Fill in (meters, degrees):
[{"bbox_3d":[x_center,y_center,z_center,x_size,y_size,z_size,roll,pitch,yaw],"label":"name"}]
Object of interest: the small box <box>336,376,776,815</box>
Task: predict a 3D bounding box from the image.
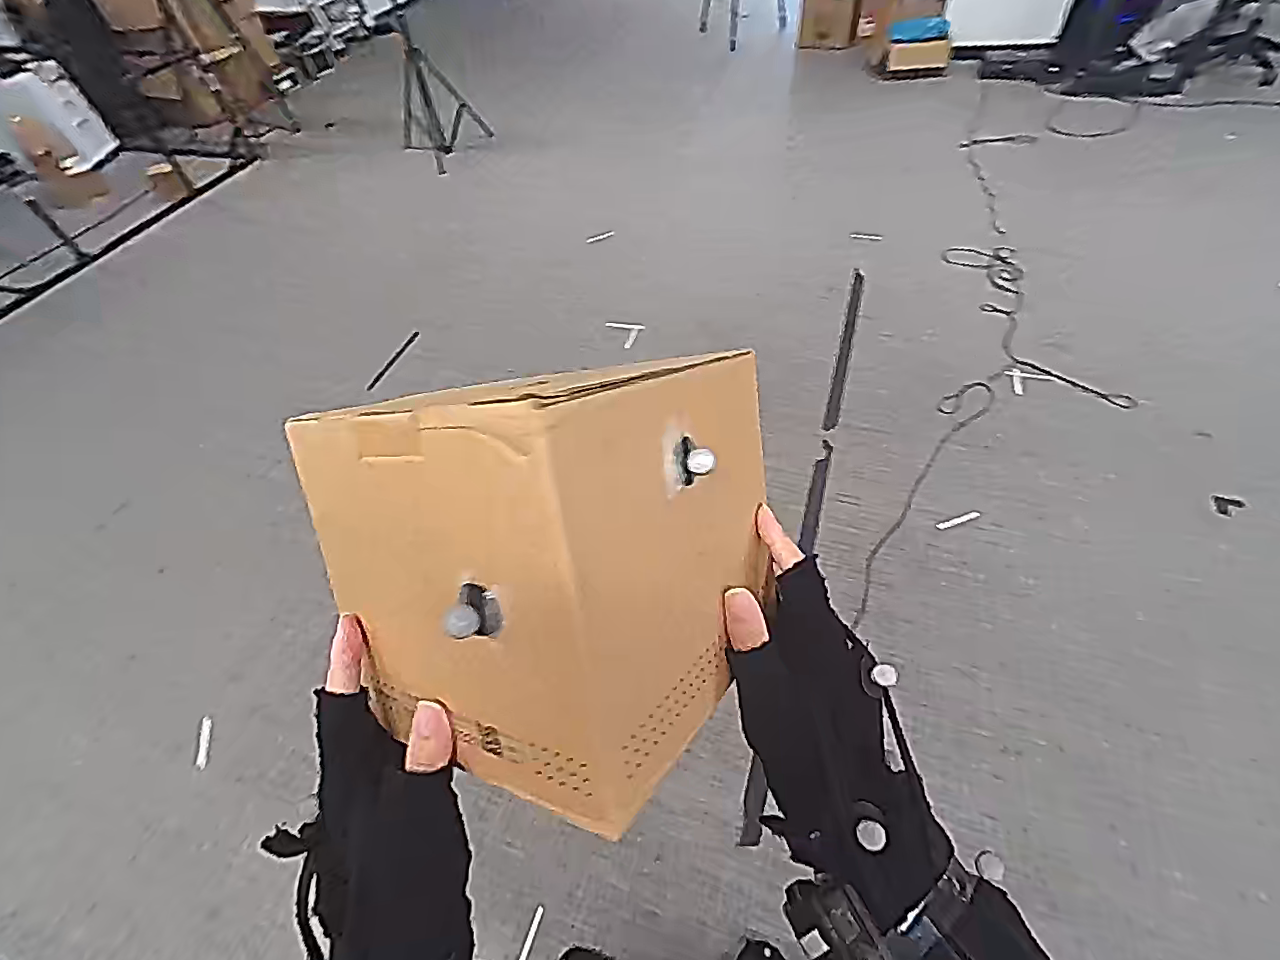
[{"bbox_3d":[-0.029,0.041,0.308,0.168,0.176,0.179,2,15,34],"label":"small box"}]
